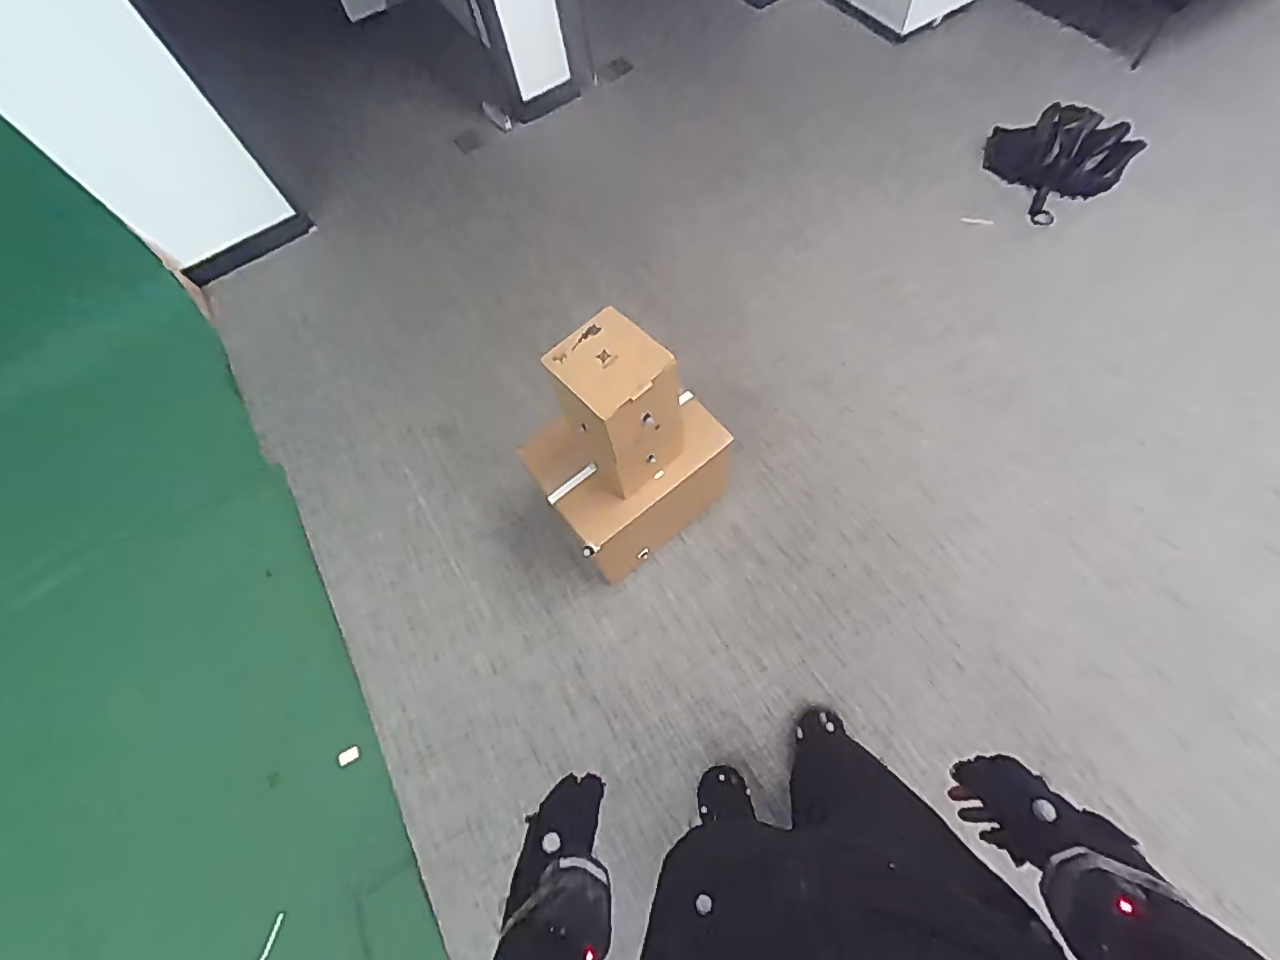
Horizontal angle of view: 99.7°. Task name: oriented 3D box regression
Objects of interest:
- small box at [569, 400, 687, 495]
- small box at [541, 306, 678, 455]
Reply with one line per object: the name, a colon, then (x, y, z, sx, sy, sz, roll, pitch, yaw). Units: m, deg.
small box: (-0.021, -0.101, 1.124, 0.179, 0.176, 0.168, -43, 68, -13)
small box: (-0.045, -0.168, 0.977, 0.168, 0.176, 0.179, -41, 69, -11)
